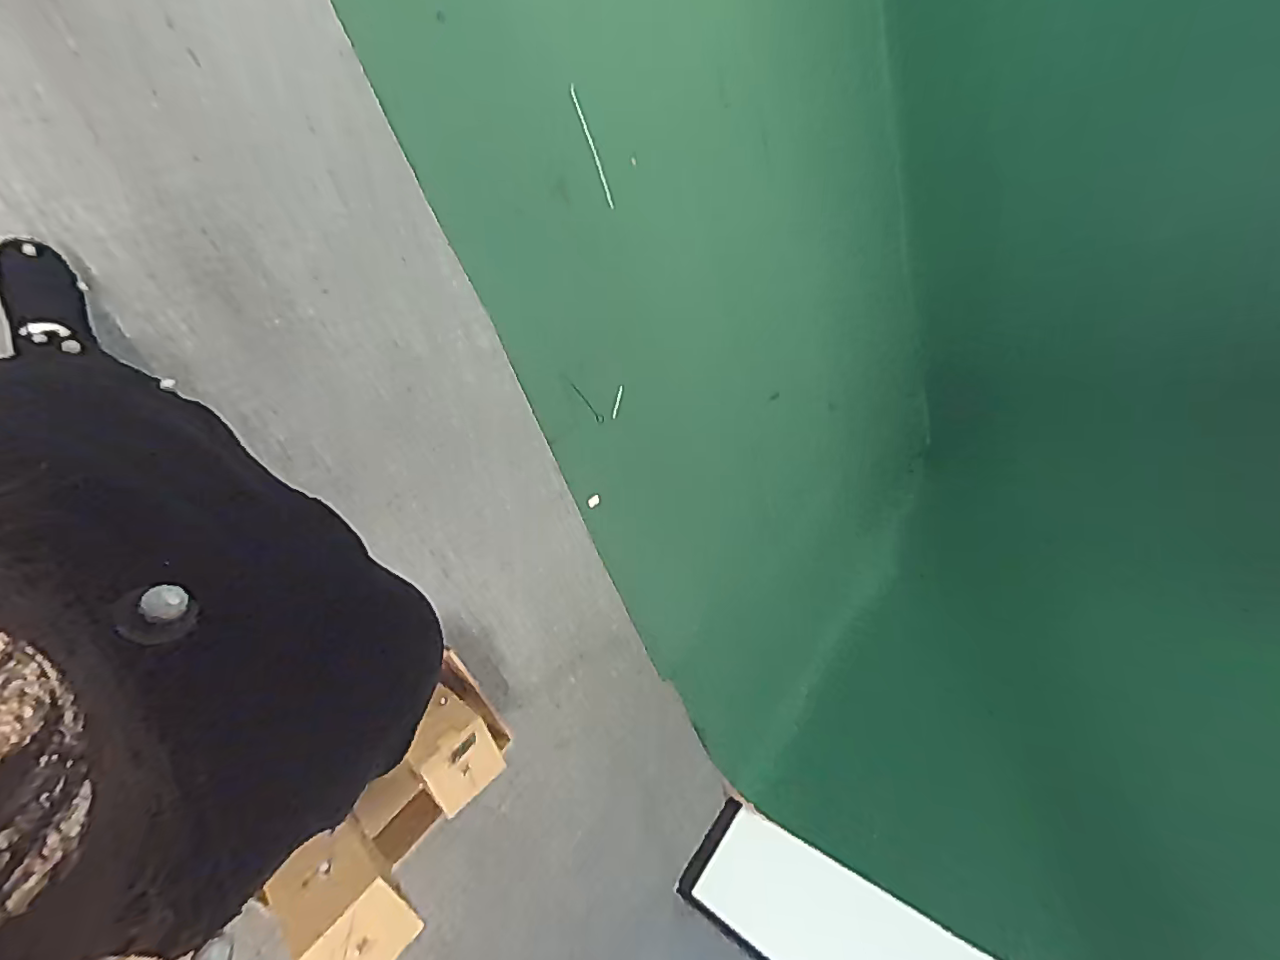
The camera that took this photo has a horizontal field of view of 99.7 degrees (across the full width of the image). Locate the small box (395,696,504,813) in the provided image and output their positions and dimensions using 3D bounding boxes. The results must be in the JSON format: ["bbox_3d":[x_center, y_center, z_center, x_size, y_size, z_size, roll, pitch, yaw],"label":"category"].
[{"bbox_3d":[-0.472,0.662,1.334,0.168,0.176,0.179,-34,119,-35],"label":"small box"}]

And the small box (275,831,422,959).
[{"bbox_3d":[-0.563,0.831,1.045,0.168,0.176,0.179,-38,120,-35],"label":"small box"}]
